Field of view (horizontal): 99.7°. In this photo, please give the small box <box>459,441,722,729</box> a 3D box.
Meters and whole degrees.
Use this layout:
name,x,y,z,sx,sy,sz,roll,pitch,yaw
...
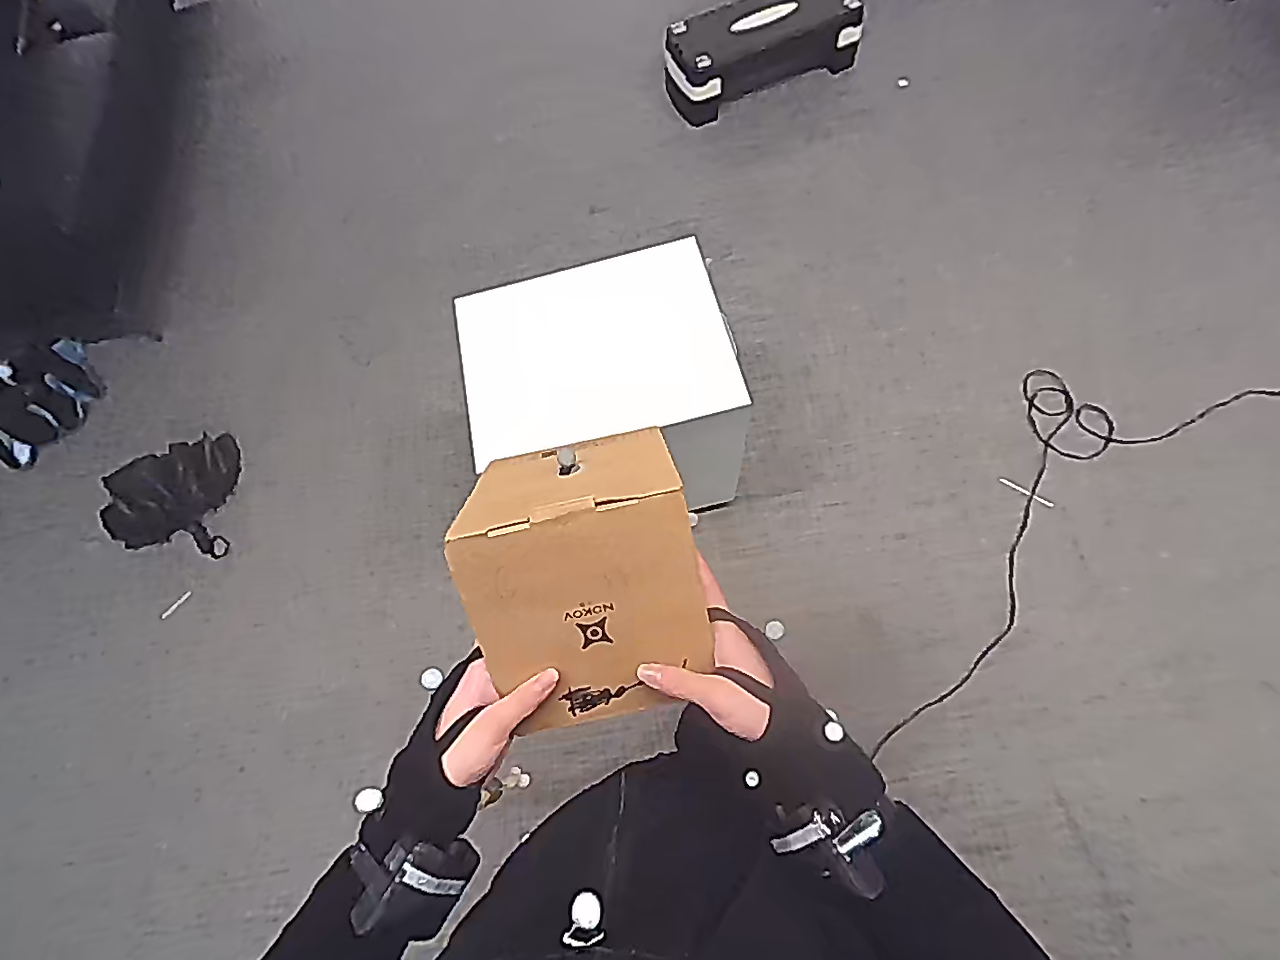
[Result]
name,x,y,z,sx,sy,sz,roll,pitch,yaw
small box,-0.036,0.073,0.469,0.168,0.176,0.179,-12,110,0
